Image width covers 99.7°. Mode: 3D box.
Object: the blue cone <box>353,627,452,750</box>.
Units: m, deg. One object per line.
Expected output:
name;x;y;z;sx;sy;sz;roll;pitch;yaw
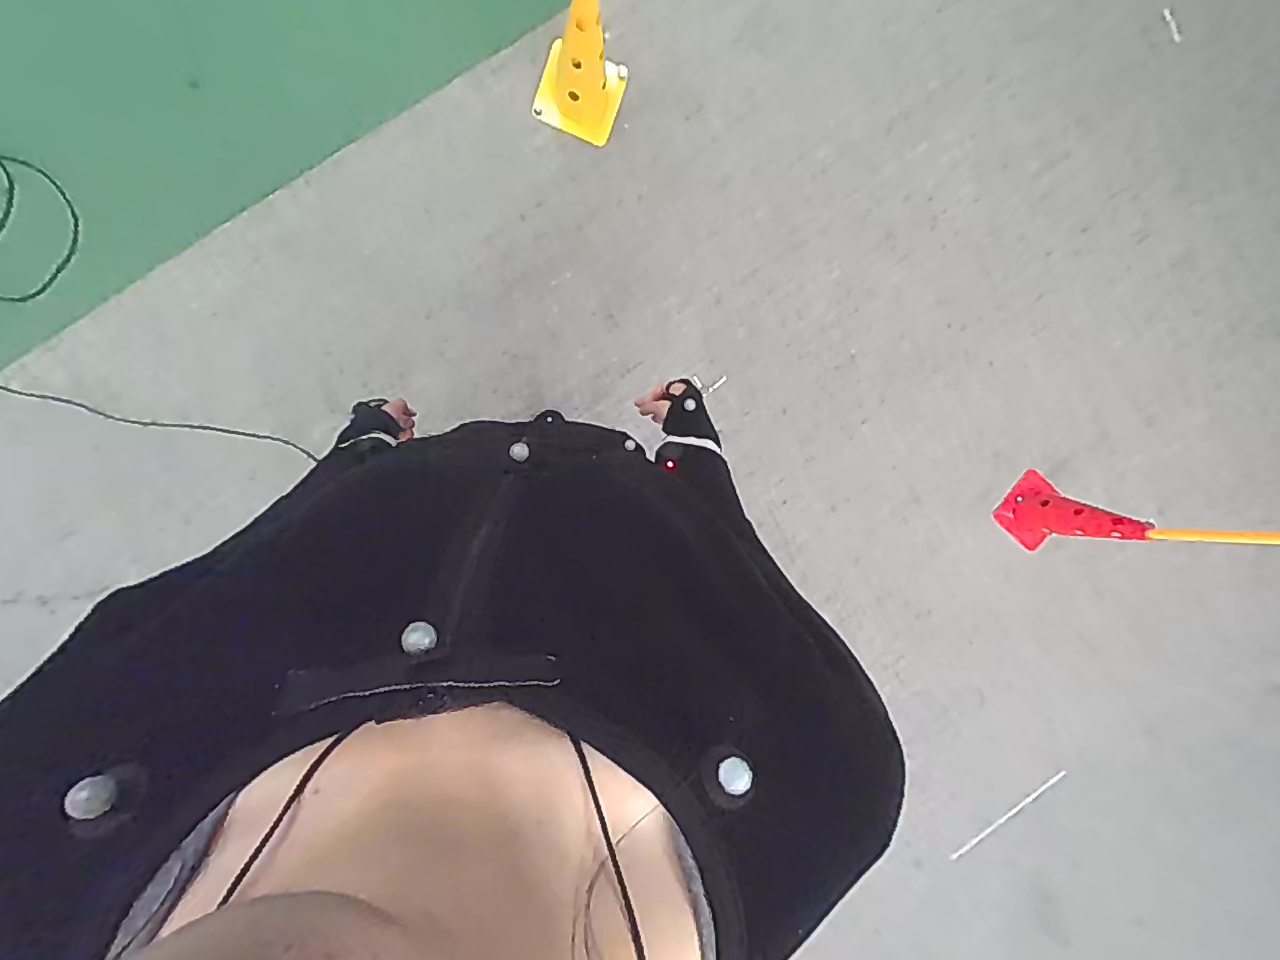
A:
blue cone;-0.590;0.516;1.300;0.192;0.380;0.193;11;97;-10
